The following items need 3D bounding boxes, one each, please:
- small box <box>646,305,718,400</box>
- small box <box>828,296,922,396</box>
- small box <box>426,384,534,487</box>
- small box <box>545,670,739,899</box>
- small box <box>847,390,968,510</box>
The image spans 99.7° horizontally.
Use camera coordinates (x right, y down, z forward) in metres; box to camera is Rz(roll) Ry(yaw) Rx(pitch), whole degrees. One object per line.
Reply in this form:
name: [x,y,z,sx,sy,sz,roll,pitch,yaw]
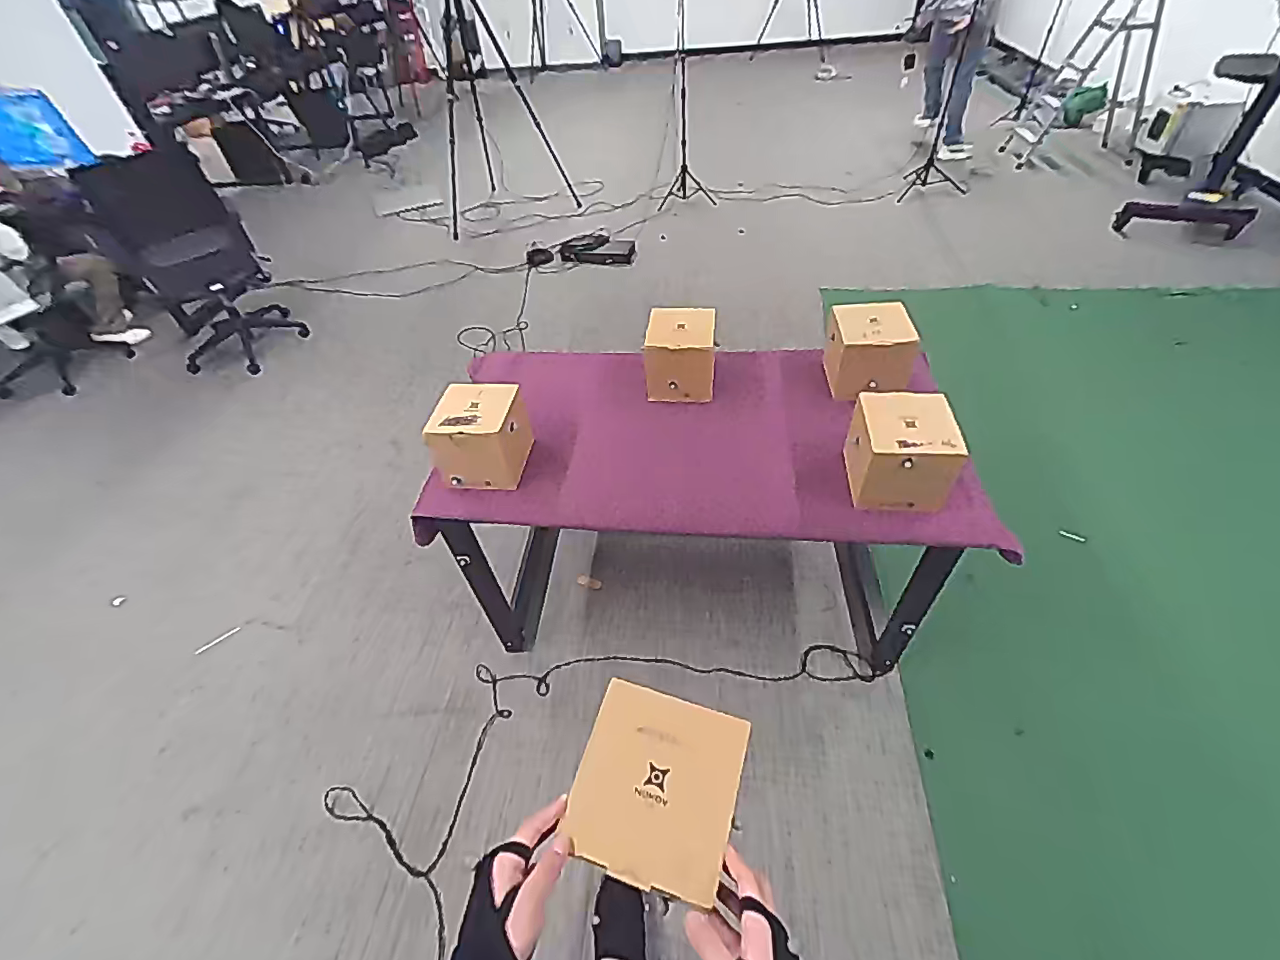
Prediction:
small box: [0.111,-0.327,1.386,0.168,0.176,0.179,3,50,9]
small box: [0.562,-0.325,1.321,0.168,0.176,0.179,-2,48,9]
small box: [-0.350,-0.100,1.229,0.168,0.176,0.179,1,46,8]
small box: [0.014,0.357,0.637,0.168,0.176,0.179,13,55,15]
small box: [0.523,-0.062,1.086,0.168,0.176,0.179,1,48,10]
